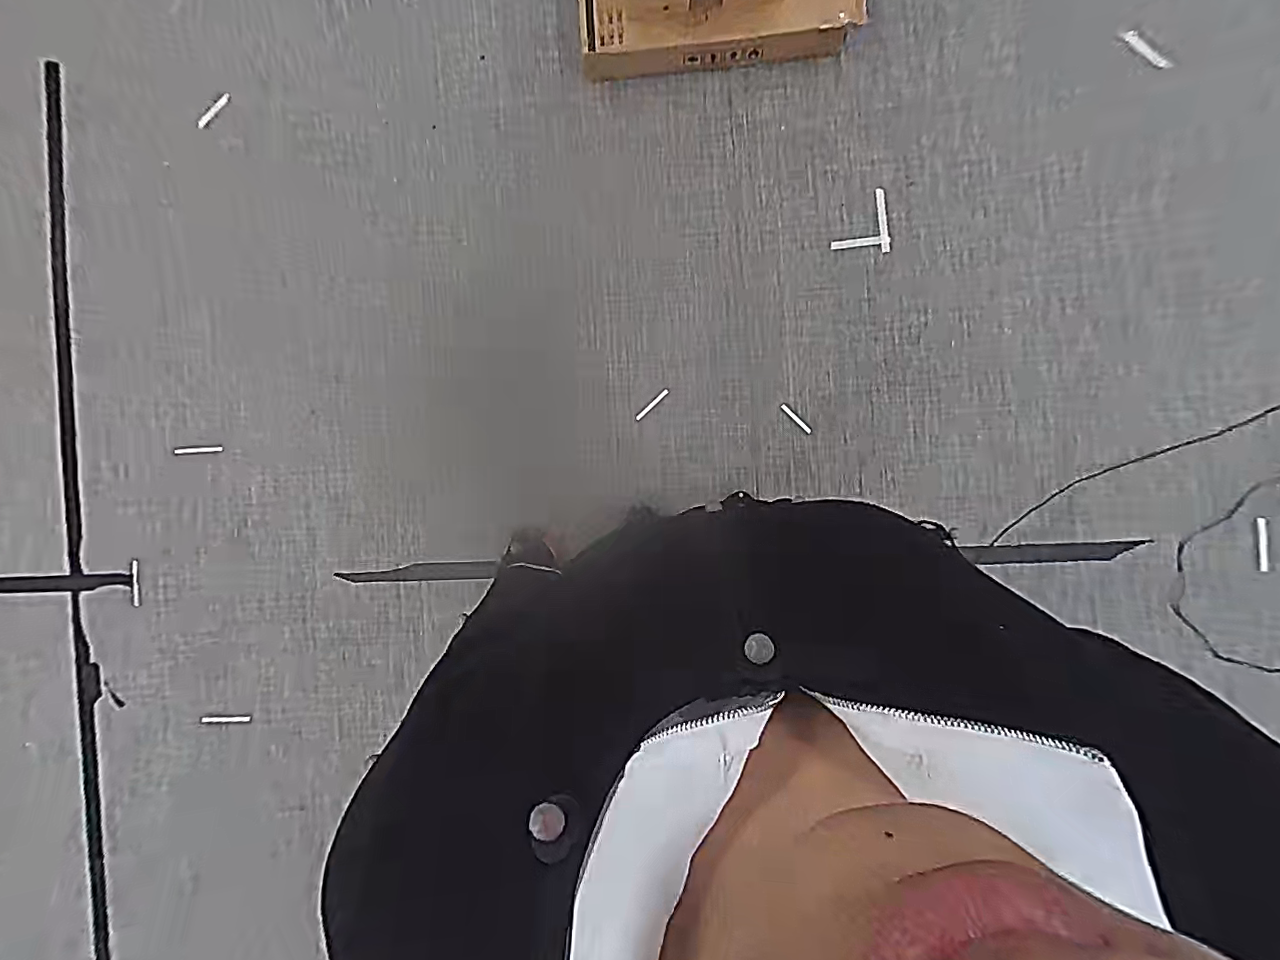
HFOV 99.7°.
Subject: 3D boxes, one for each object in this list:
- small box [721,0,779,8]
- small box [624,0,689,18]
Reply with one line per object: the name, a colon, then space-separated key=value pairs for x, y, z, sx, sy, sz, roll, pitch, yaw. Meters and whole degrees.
small box: x=0.278 y=-1.315 z=1.318 sx=0.168 sy=0.176 sz=0.179 roll=-5 pitch=89 yaw=4
small box: x=0.032 y=-1.292 z=1.336 sx=0.168 sy=0.176 sz=0.179 roll=-6 pitch=89 yaw=4
